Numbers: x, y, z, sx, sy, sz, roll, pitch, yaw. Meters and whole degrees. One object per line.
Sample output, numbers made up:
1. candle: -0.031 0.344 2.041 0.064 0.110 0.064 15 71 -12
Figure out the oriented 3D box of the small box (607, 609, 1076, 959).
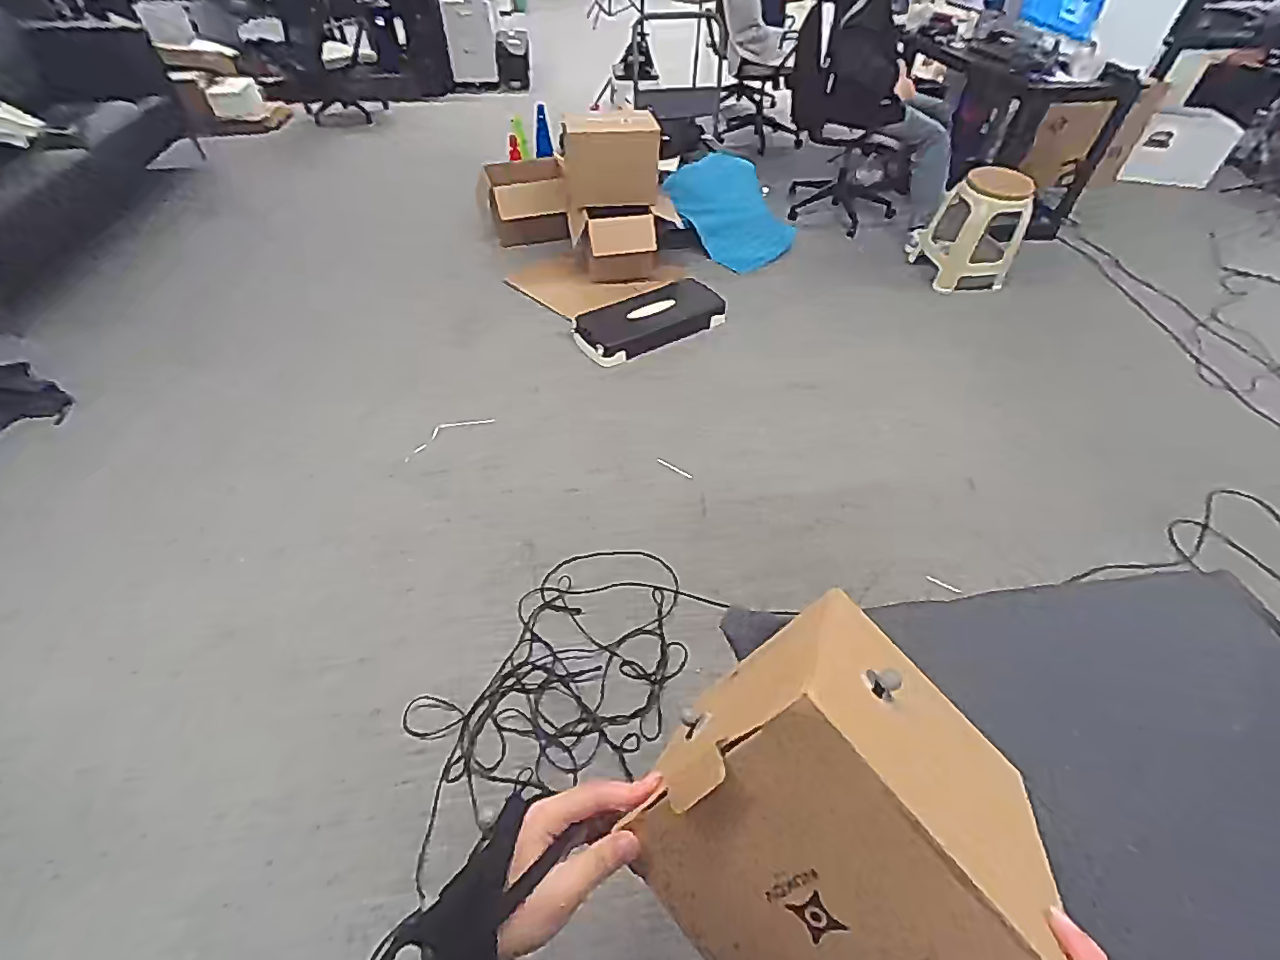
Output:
1. small box: 0.118 0.207 0.350 0.179 0.168 0.176 45 25 11
